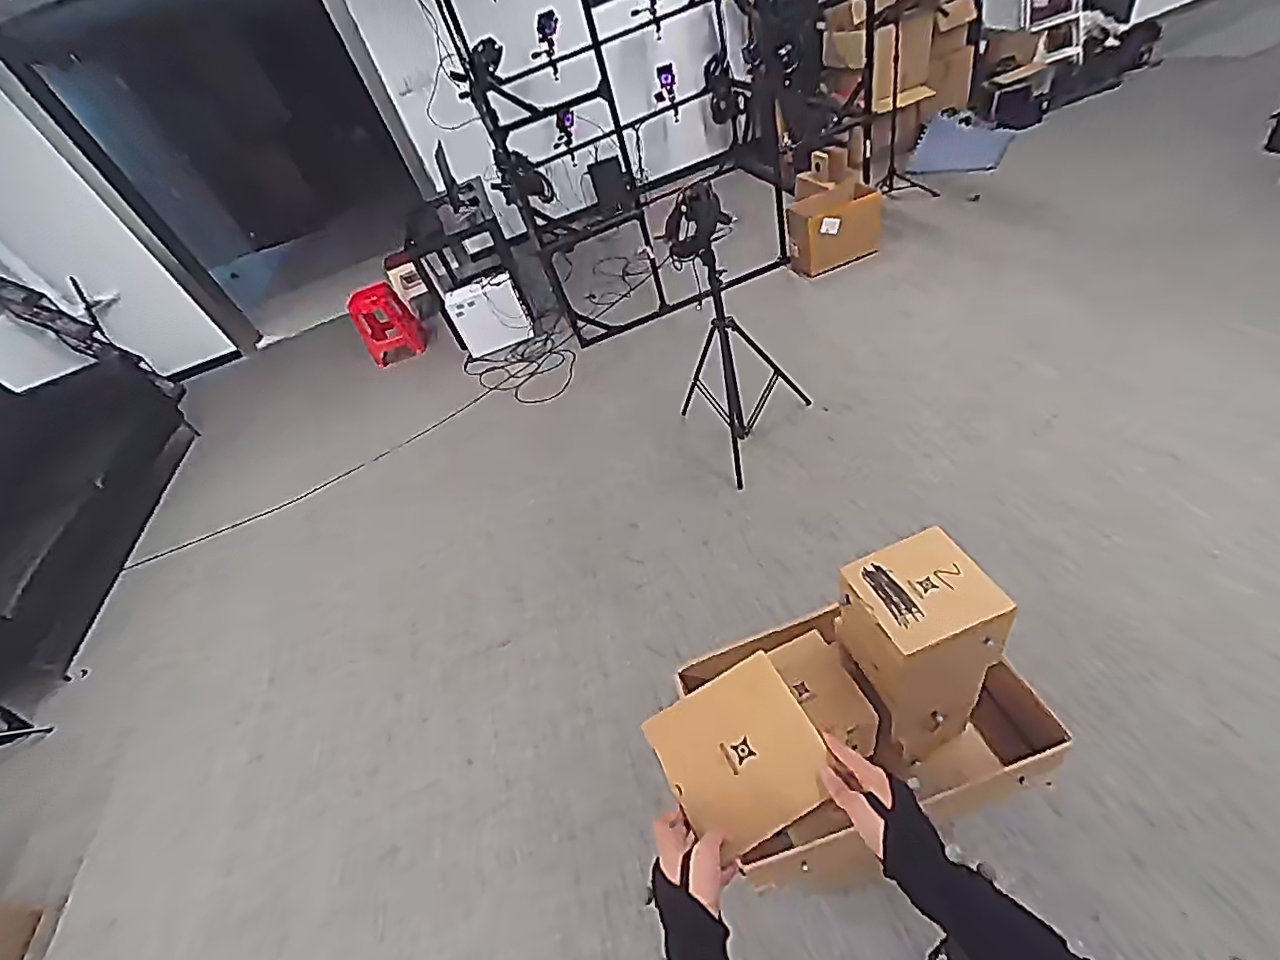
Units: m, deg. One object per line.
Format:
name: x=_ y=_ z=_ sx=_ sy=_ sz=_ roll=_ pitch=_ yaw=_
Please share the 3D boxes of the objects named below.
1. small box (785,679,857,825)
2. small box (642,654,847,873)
small box: x=0.301 y=0.533 z=1.060 sx=0.168 sy=0.176 sz=0.179 roll=-25 pitch=42 yaw=-4
small box: x=0.127 y=0.349 z=0.678 sx=0.179 sy=0.176 sz=0.168 roll=-31 pitch=58 yaw=-4
